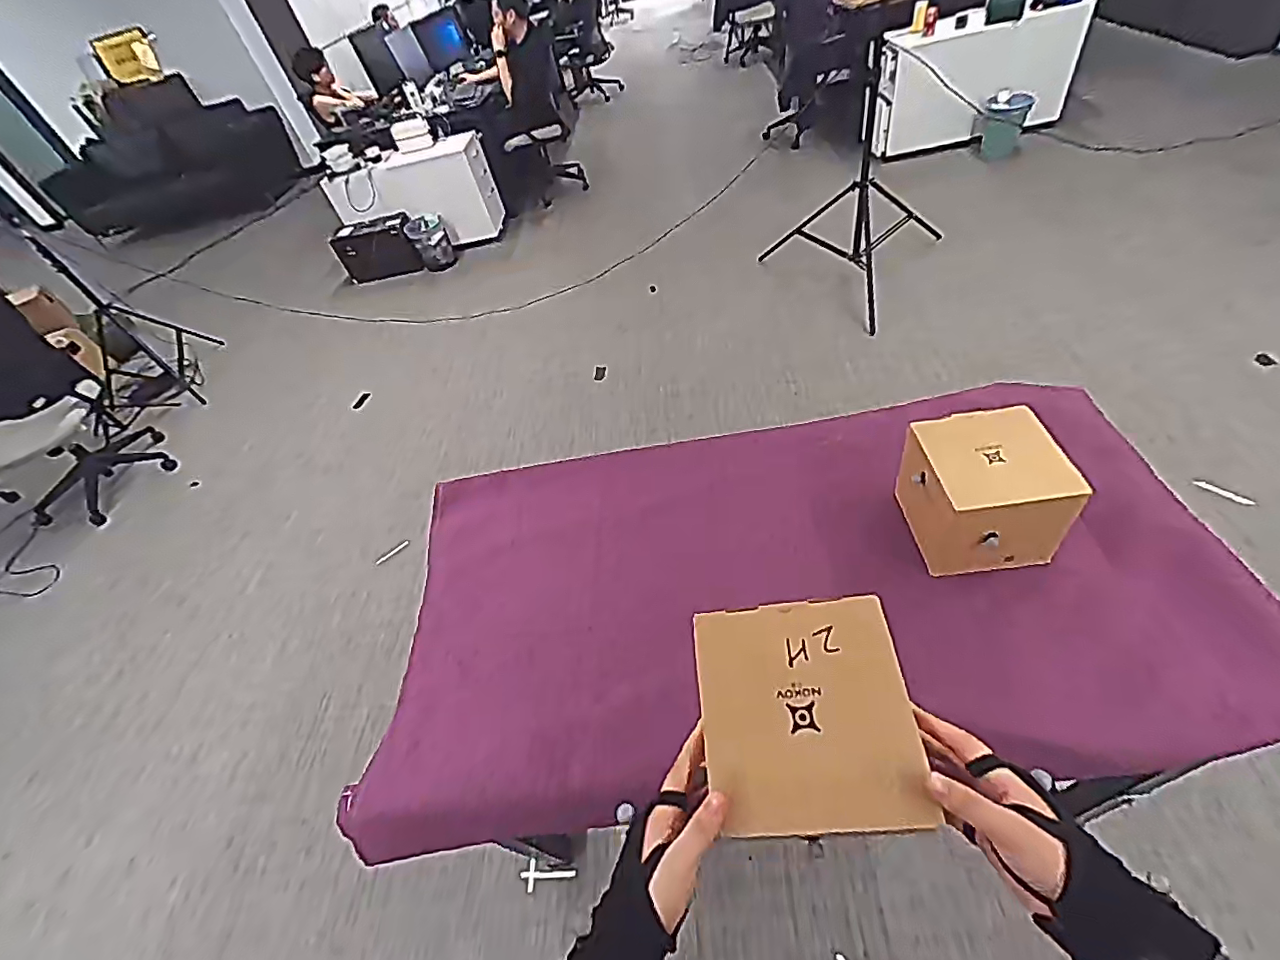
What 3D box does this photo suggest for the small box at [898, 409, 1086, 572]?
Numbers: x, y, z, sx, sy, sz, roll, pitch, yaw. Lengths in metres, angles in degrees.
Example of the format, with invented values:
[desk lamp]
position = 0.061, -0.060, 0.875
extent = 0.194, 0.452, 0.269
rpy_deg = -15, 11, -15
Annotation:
[small box]
position = 0.504, 0.024, 0.807
extent = 0.168, 0.176, 0.179
rpy_deg = -9, 46, 8
